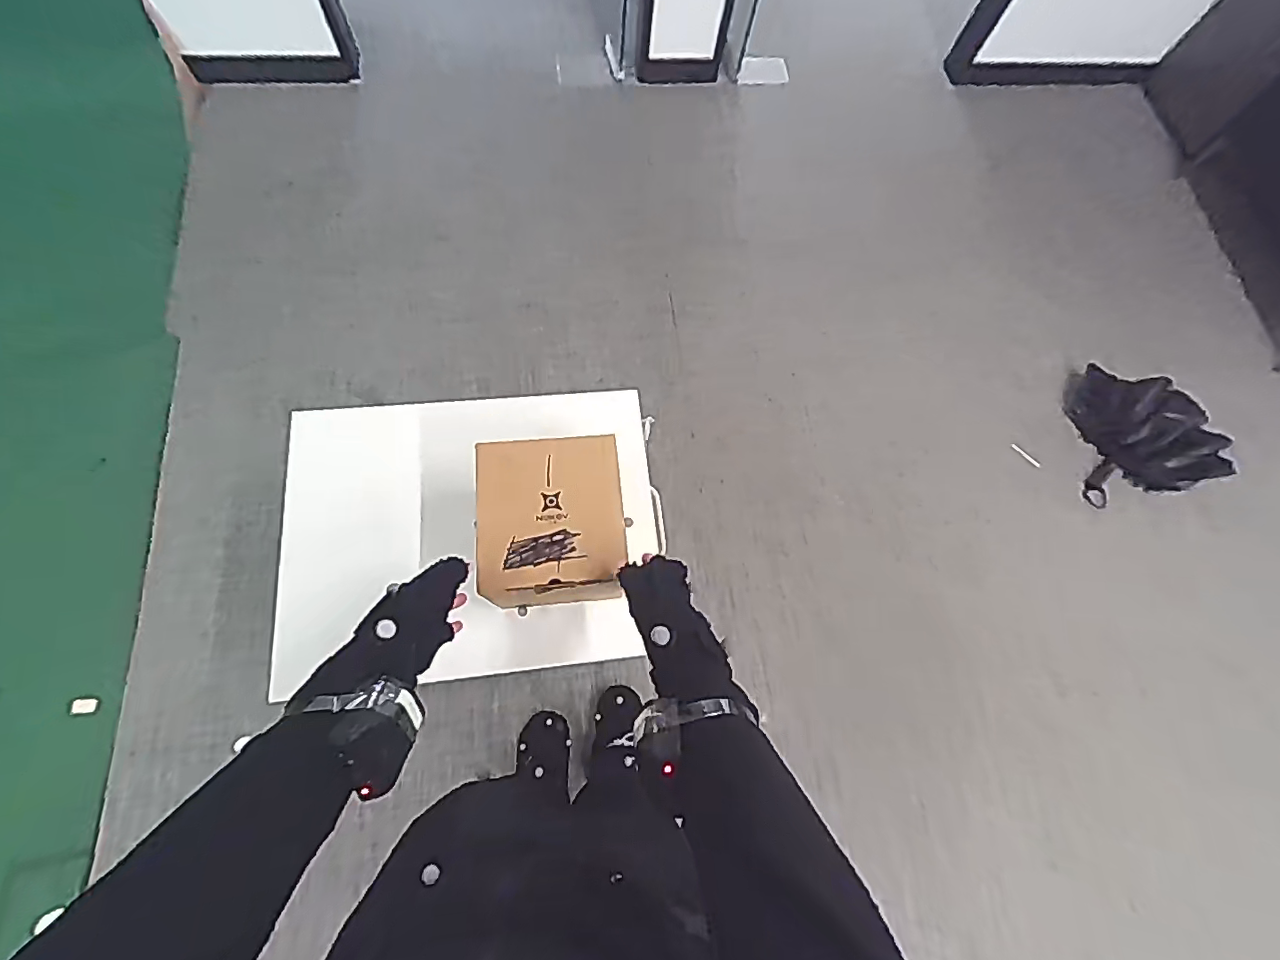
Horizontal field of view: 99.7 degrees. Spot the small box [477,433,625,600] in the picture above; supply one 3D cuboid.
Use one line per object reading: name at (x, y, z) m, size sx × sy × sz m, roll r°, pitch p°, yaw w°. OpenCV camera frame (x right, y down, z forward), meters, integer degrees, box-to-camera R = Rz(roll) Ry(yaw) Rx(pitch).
small box at (-0.108, 0.056, 0.693) m, size 0.168 × 0.176 × 0.179 m, roll -4°, pitch 70°, yaw -6°
